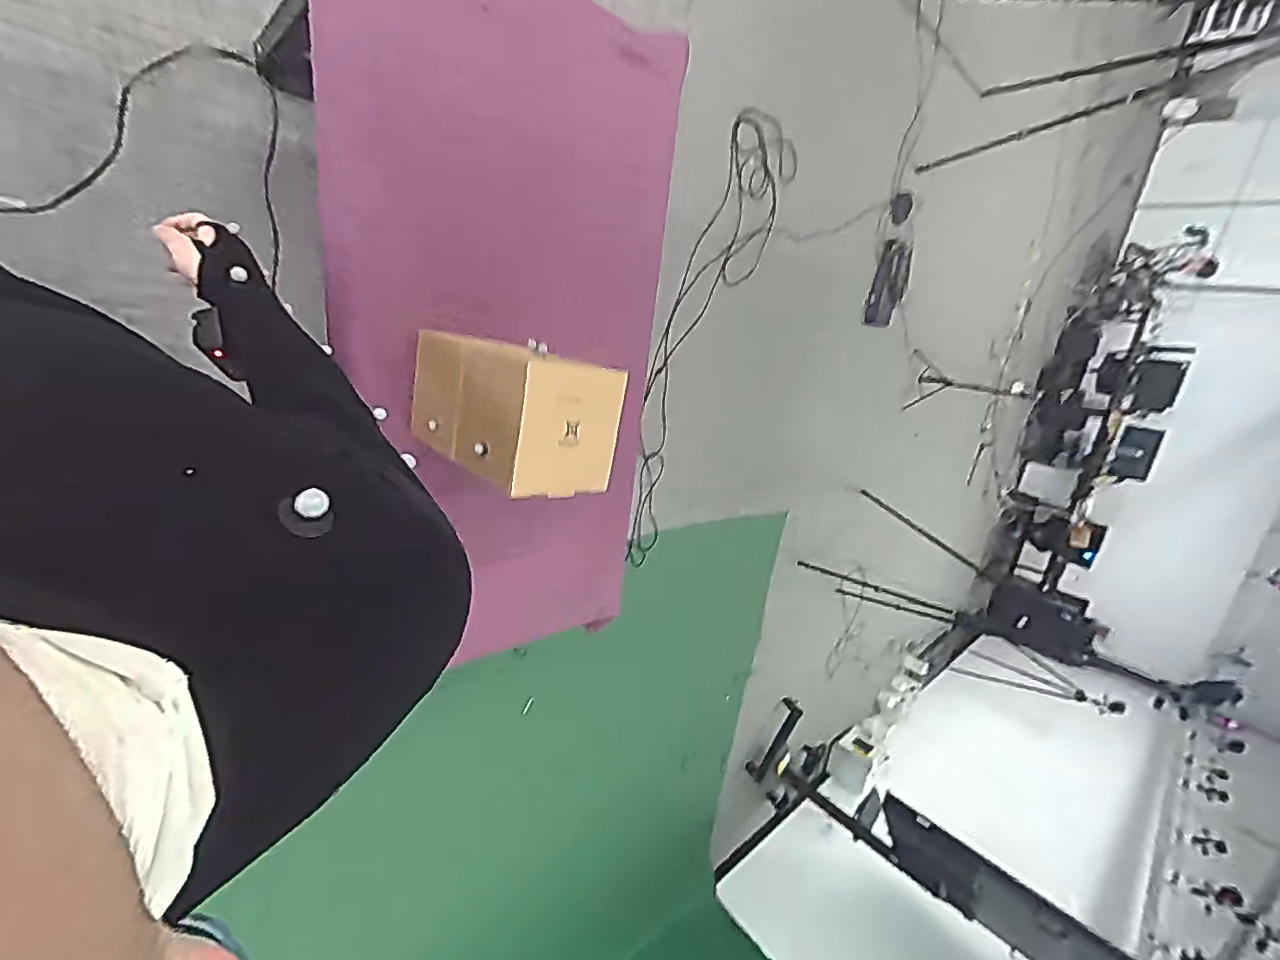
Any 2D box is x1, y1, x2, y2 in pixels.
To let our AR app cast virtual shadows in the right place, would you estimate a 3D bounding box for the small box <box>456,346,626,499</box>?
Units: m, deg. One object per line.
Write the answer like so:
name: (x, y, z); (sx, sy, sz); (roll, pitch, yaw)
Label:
small box: (-0.147, -0.084, 0.772); (0.168, 0.176, 0.179); (-2, 108, -44)
